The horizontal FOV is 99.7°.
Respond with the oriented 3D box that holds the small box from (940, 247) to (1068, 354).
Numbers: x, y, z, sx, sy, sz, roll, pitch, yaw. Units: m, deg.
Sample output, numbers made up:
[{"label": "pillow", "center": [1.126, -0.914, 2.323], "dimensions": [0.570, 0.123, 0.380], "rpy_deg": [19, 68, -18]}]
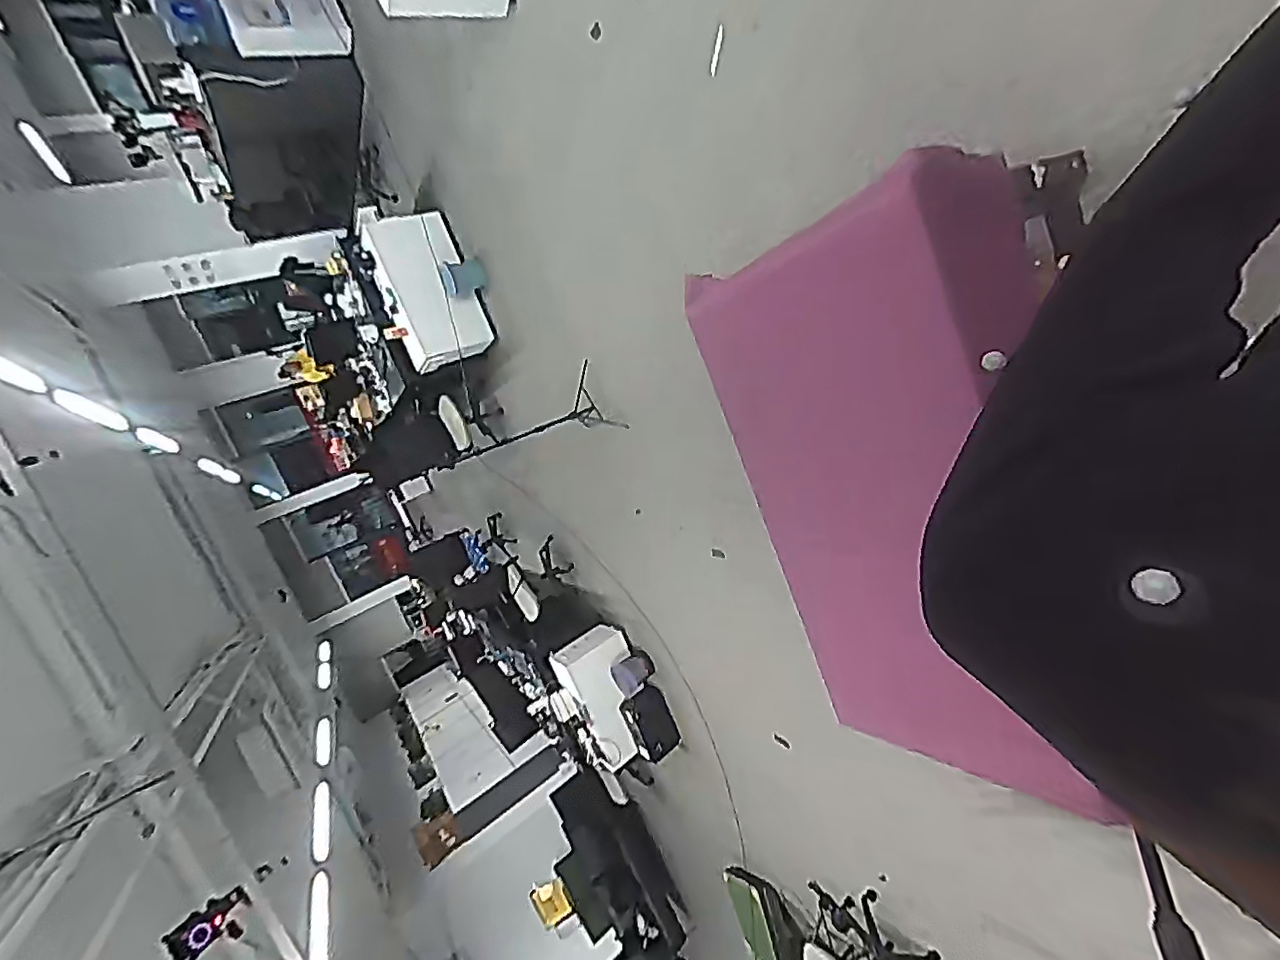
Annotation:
[{"label": "small box", "center": [0.917, -0.453, 1.363], "dimensions": [0.168, 0.176, 0.179], "rpy_deg": [54, 150, 16]}]
